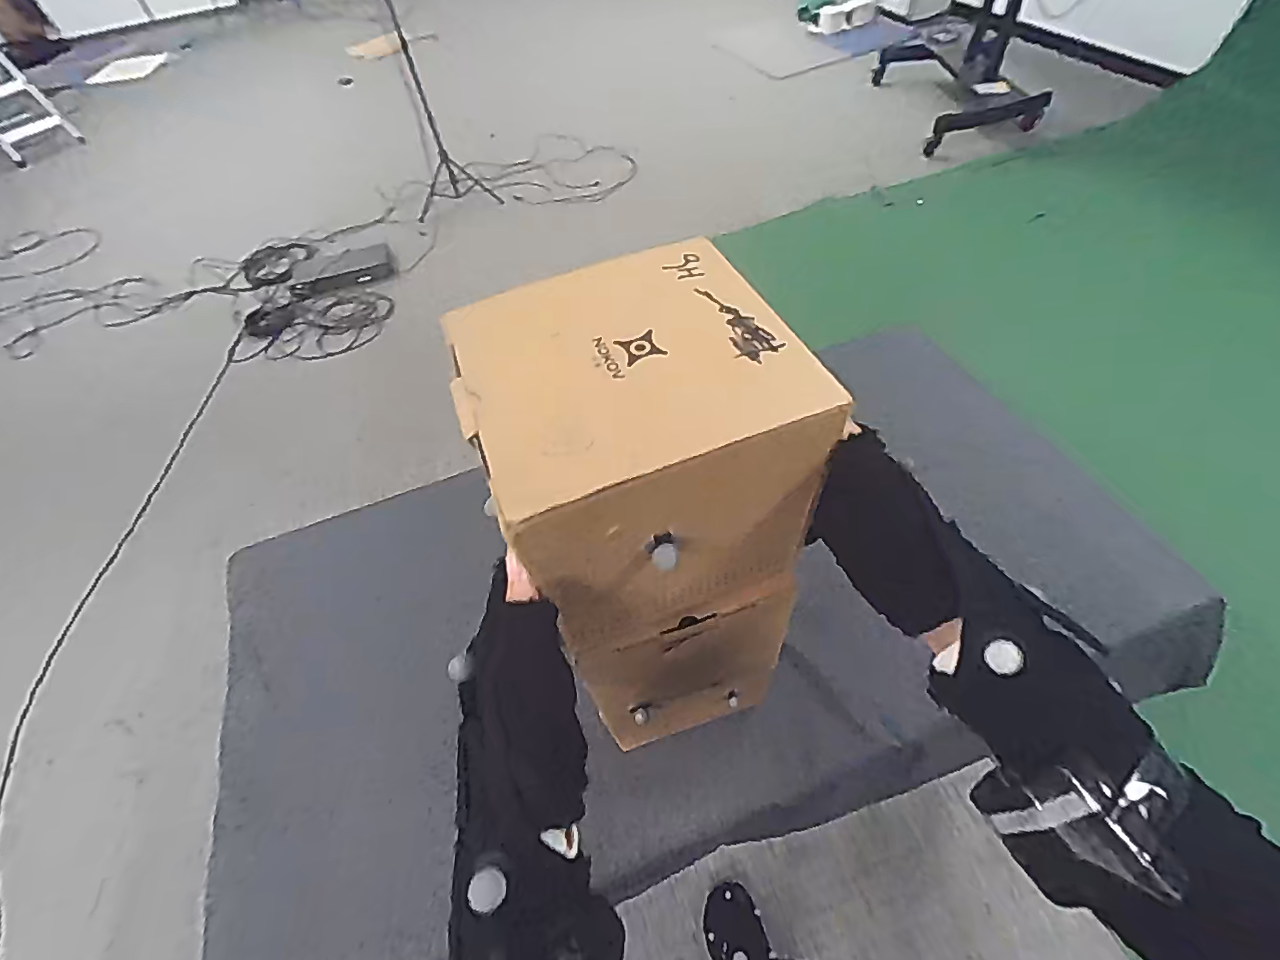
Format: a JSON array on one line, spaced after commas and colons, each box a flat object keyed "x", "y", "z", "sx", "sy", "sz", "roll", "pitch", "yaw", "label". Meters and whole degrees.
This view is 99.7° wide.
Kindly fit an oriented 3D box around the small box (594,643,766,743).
[{"x": 0.029, "y": 0.181, "z": 0.631, "sx": 0.179, "sy": 0.176, "sz": 0.168, "roll": -18, "pitch": 52, "yaw": -5, "label": "small box"}]

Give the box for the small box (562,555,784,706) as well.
[{"x": 0.012, "y": 0.088, "z": 0.497, "sx": 0.168, "sy": 0.176, "sz": 0.179, "roll": -20, "pitch": 54, "yaw": -8, "label": "small box"}]

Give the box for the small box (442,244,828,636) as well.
[{"x": -0.006, "y": -0.022, "z": 0.366, "sx": 0.179, "sy": 0.176, "sz": 0.168, "roll": -22, "pitch": 54, "yaw": -11, "label": "small box"}]
